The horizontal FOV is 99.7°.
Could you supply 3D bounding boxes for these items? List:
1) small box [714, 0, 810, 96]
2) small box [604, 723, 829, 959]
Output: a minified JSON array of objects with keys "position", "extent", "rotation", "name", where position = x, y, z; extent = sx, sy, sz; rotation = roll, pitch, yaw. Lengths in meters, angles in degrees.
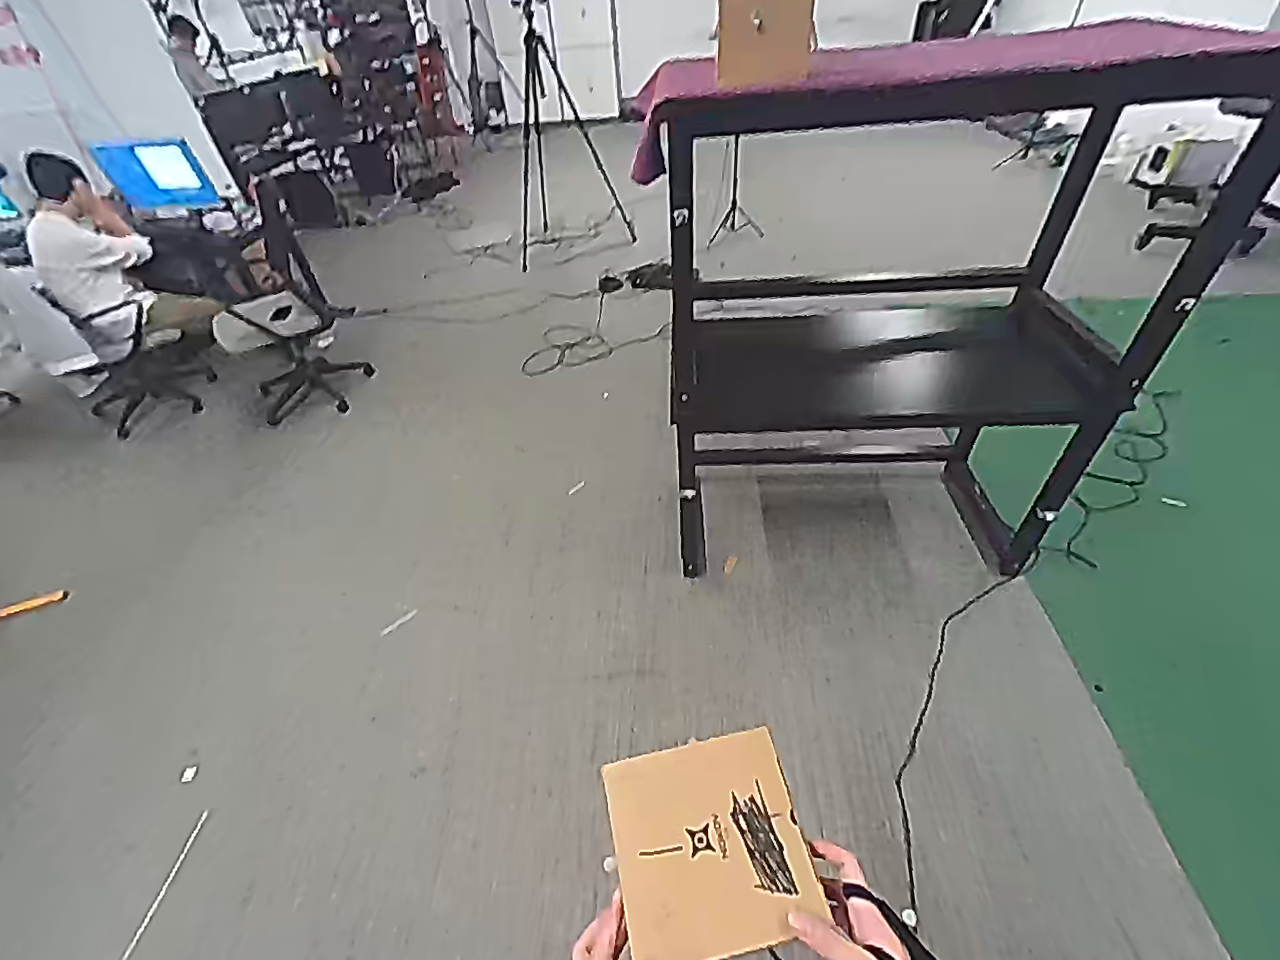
[{"position":[0.235,-0.876,1.070],"extent":[0.179,0.176,0.168],"rotation":[0,43,7],"name":"small box"},{"position":[0.063,0.373,0.560],"extent":[0.179,0.176,0.168],"rotation":[-10,52,-6],"name":"small box"}]
